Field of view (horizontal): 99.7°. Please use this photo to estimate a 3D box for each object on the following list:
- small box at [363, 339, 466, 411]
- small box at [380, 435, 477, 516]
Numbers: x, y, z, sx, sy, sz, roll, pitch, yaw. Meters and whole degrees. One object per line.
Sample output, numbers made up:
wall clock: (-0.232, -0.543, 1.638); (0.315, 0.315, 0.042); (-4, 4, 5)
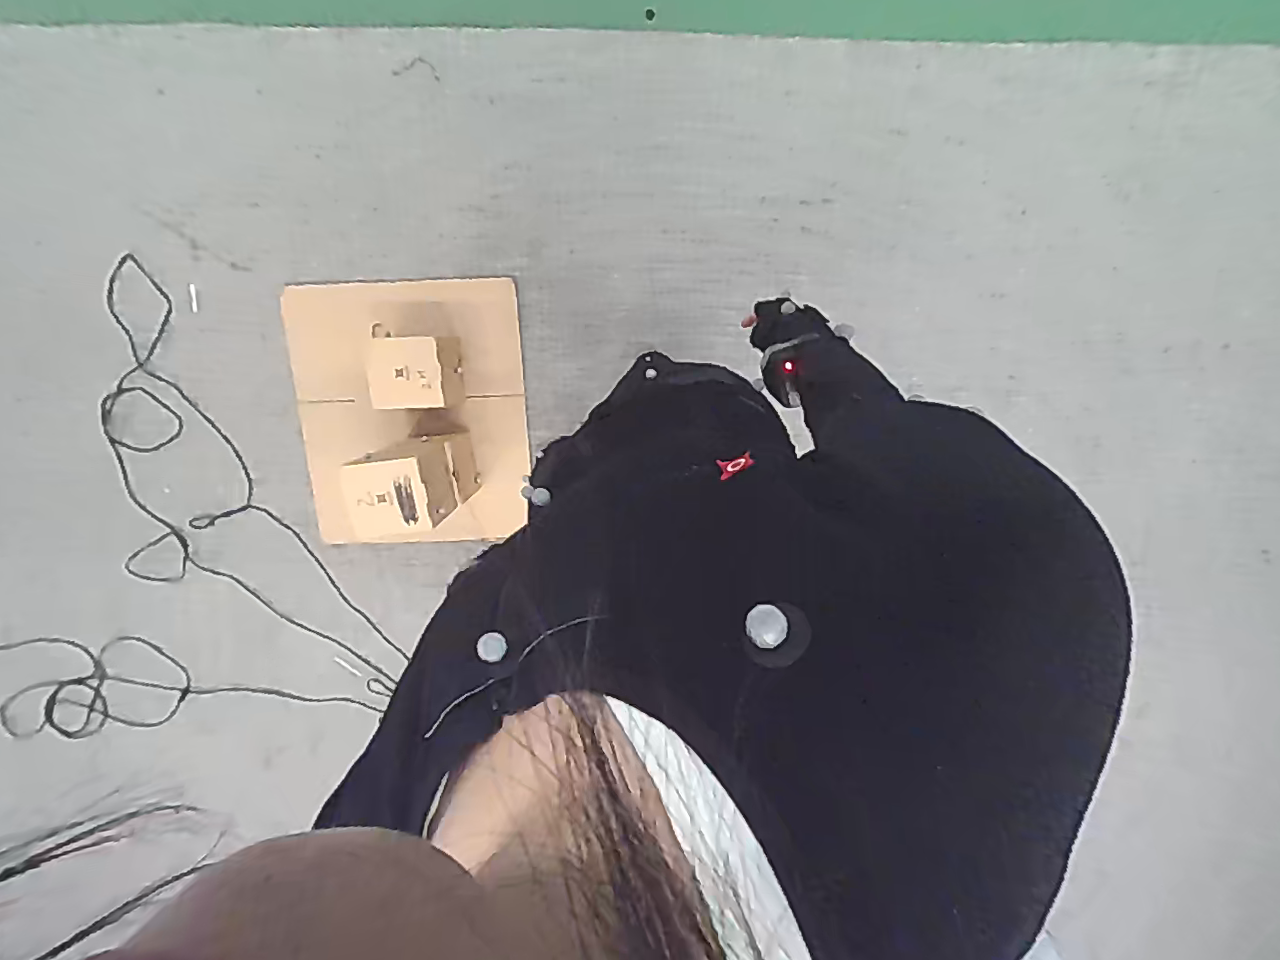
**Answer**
small box: (-0.550, -0.262, 1.339); (0.179, 0.176, 0.168); (-2, 105, 0)
small box: (-0.531, -0.017, 1.393); (0.179, 0.176, 0.168); (-6, 103, 2)
